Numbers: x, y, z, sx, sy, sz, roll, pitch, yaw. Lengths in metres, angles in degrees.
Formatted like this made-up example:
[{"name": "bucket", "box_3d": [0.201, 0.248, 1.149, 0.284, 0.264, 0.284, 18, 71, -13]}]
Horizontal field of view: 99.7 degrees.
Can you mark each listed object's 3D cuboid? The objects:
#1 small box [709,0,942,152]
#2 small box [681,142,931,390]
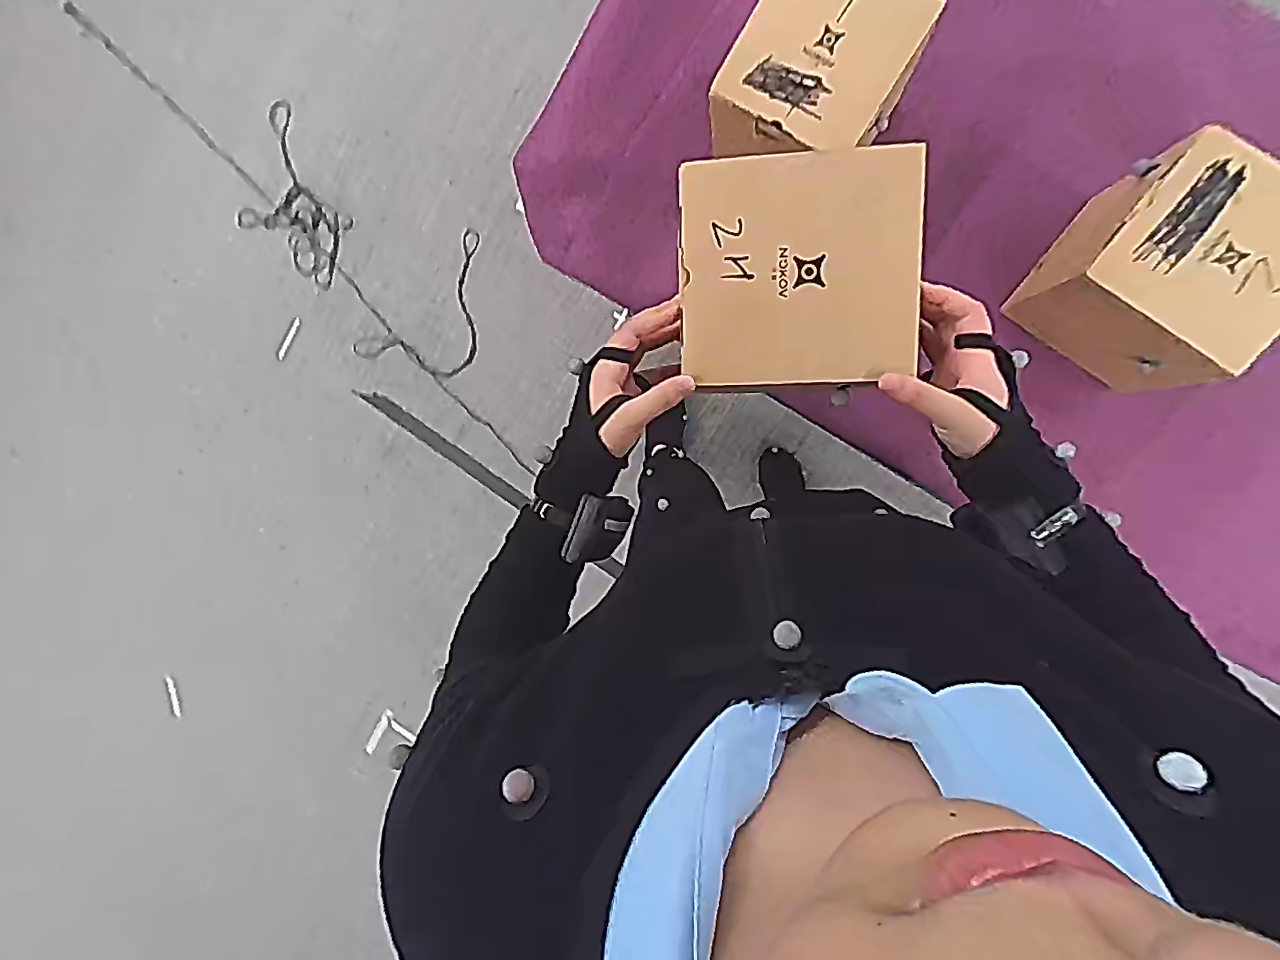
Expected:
[{"name": "small box", "box_3d": [0.198, -0.443, 0.625, 0.168, 0.176, 0.179, 33, 100, 5]}, {"name": "small box", "box_3d": [0.128, -0.168, 0.477, 0.179, 0.176, 0.168, 0, 97, 8]}]
